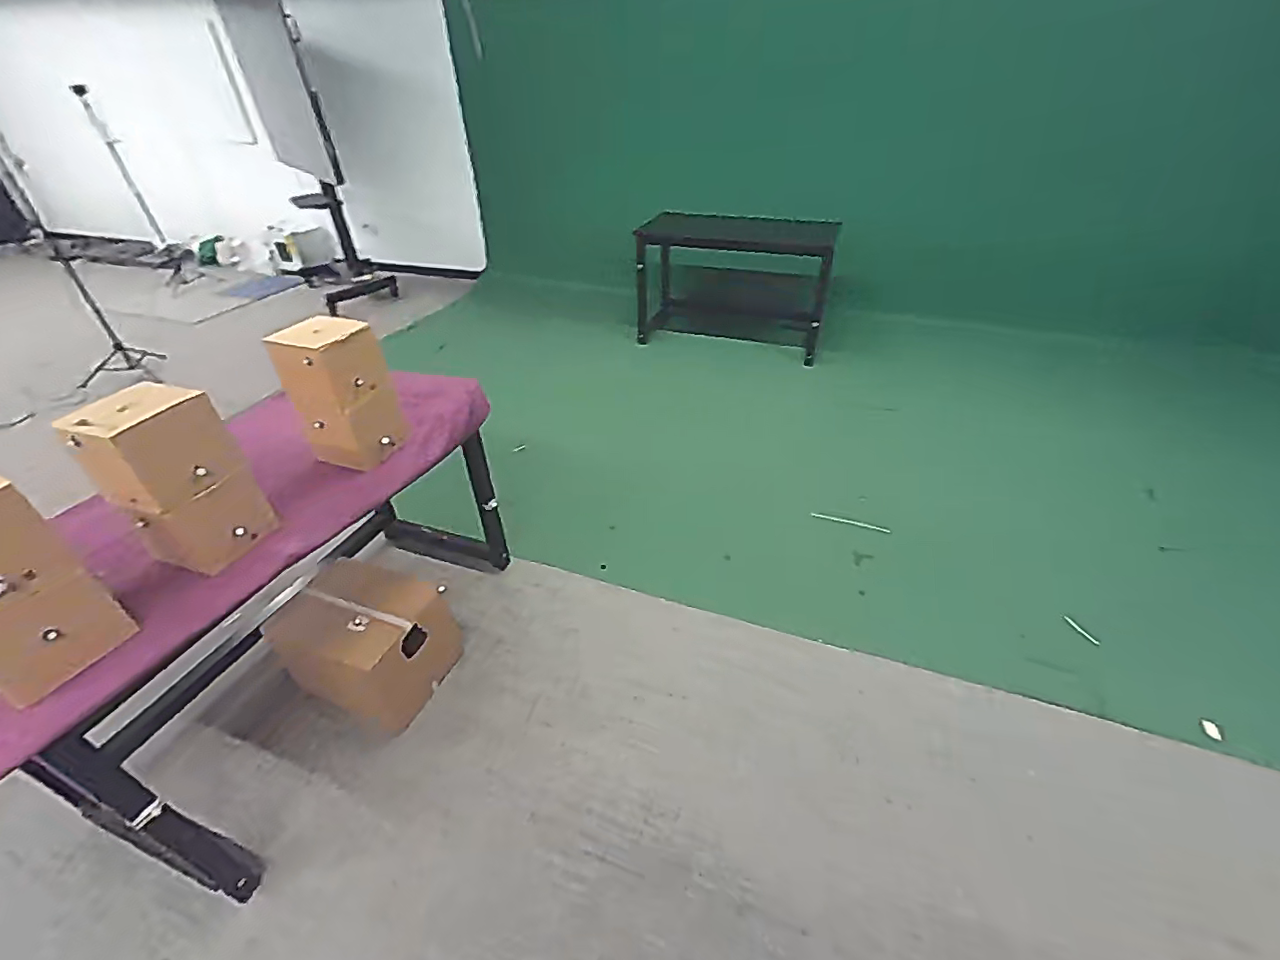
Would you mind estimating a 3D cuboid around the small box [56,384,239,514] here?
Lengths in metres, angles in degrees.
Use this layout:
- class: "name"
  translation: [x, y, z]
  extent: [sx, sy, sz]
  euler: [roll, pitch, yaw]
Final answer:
- class: "small box"
  translation: [-0.909, -0.062, 1.025]
  extent: [0.168, 0.176, 0.179]
  euler: [9, 37, 17]

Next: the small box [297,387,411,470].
- class: "small box"
  translation: [-0.735, -0.145, 1.409]
  extent: [0.179, 0.176, 0.168]
  euler: [12, 39, 17]

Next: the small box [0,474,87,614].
- class: "small box"
  translation: [-1.019, 0.097, 0.815]
  extent: [0.179, 0.176, 0.168]
  euler: [13, 40, 20]

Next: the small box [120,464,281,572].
- class: "small box"
  translation: [-0.905, 0.069, 1.123]
  extent: [0.179, 0.176, 0.168]
  euler: [10, 39, 17]

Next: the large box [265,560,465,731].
- class: "large box"
  translation: [-0.817, 0.497, 1.658]
  extent: [0.408, 0.320, 0.320]
  euler: [13, 39, 17]

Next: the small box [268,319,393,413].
- class: "small box"
  translation: [-0.743, -0.277, 1.315]
  extent: [0.179, 0.176, 0.168]
  euler: [12, 39, 17]
